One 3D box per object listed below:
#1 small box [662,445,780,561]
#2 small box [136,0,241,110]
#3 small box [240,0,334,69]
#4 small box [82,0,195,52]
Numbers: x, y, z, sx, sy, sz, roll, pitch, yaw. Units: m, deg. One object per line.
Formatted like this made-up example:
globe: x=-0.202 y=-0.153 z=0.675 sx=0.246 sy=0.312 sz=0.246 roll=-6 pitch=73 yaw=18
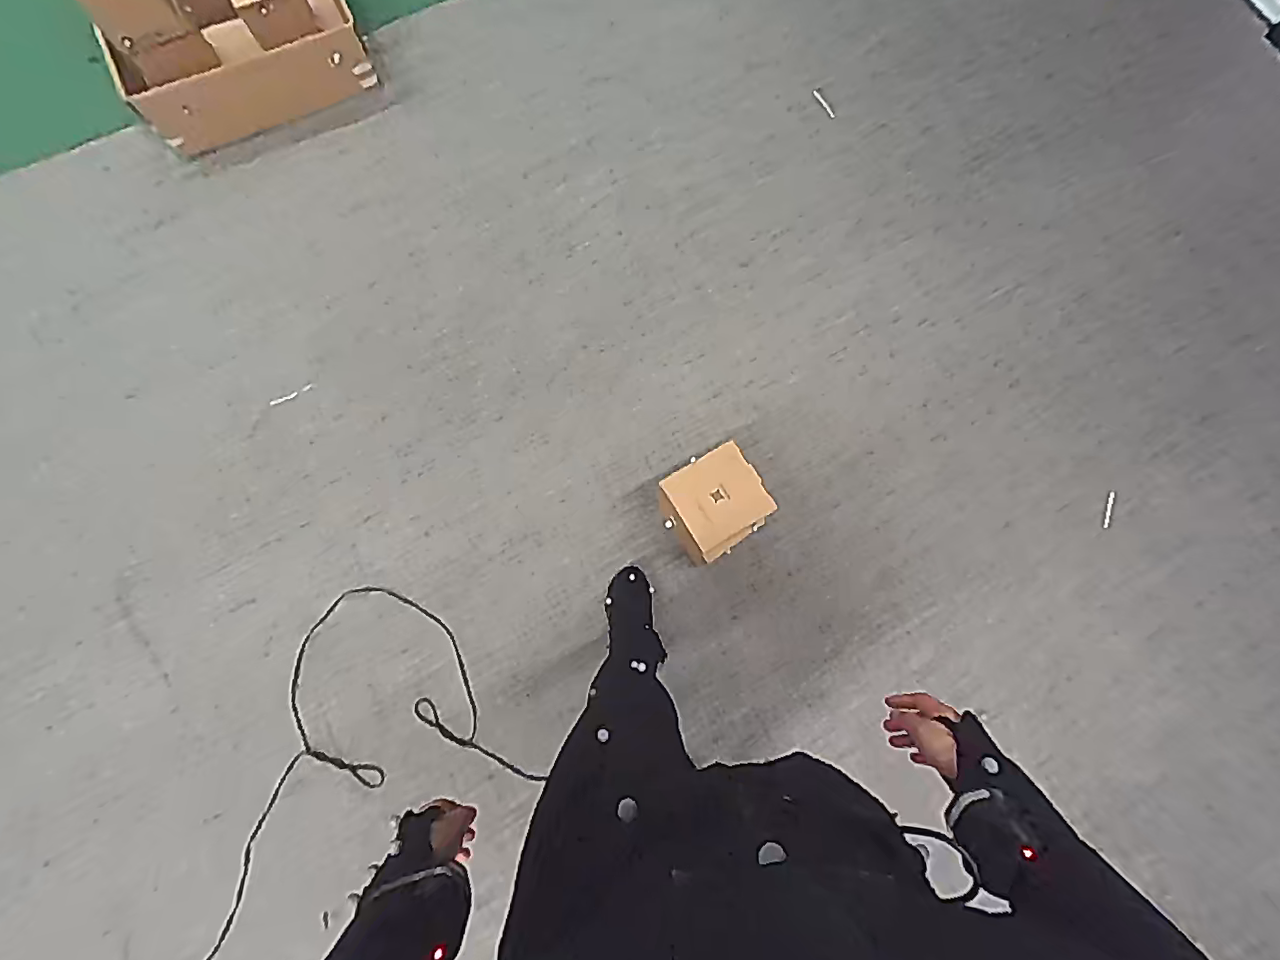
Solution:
small box: x=0.159 y=0.055 z=1.136 sx=0.179 sy=0.176 sz=0.168 roll=-30 pitch=79 yaw=-7
small box: x=-1.251 y=-1.170 z=1.480 sx=0.168 sy=0.176 sz=0.179 roll=-29 pitch=80 yaw=-8
small box: x=-1.002 y=-1.319 z=1.523 sx=0.168 sy=0.176 sz=0.179 roll=-23 pitch=80 yaw=-6
small box: x=-1.244 y=-1.194 z=1.317 sx=0.168 sy=0.176 sz=0.179 roll=-27 pitch=79 yaw=-8
